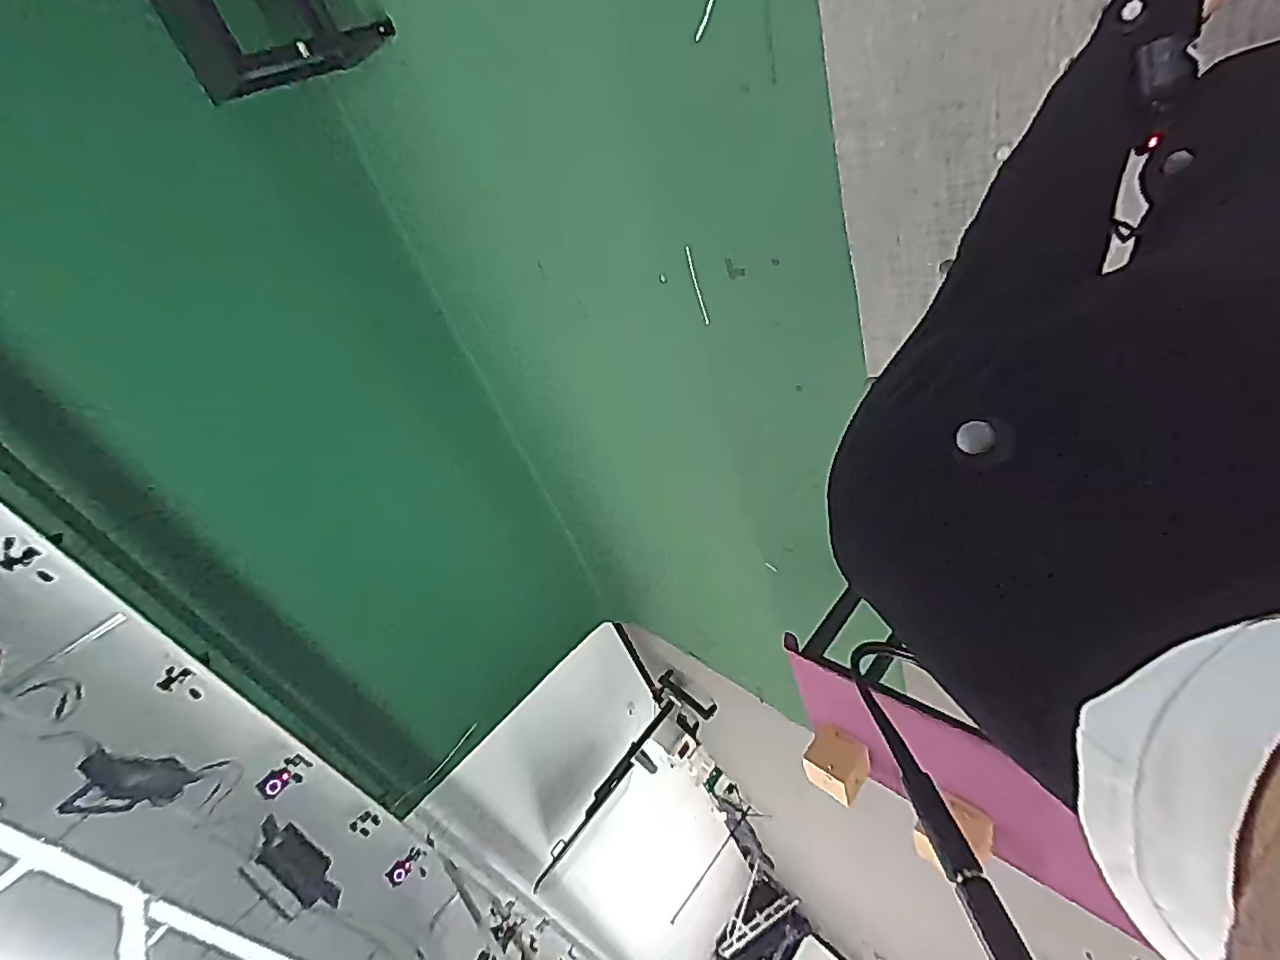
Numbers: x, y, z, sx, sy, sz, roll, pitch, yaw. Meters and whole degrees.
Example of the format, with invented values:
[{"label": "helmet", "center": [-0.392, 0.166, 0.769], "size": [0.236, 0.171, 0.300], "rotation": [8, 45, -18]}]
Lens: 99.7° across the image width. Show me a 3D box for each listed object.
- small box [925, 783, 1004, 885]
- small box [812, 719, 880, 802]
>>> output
[{"label": "small box", "center": [1.011, 1.094, 1.682], "size": [0.168, 0.176, 0.179], "rotation": [16, 138, 47]}, {"label": "small box", "center": [0.755, 1.015, 1.966], "size": [0.168, 0.176, 0.179], "rotation": [17, 140, 46]}]
